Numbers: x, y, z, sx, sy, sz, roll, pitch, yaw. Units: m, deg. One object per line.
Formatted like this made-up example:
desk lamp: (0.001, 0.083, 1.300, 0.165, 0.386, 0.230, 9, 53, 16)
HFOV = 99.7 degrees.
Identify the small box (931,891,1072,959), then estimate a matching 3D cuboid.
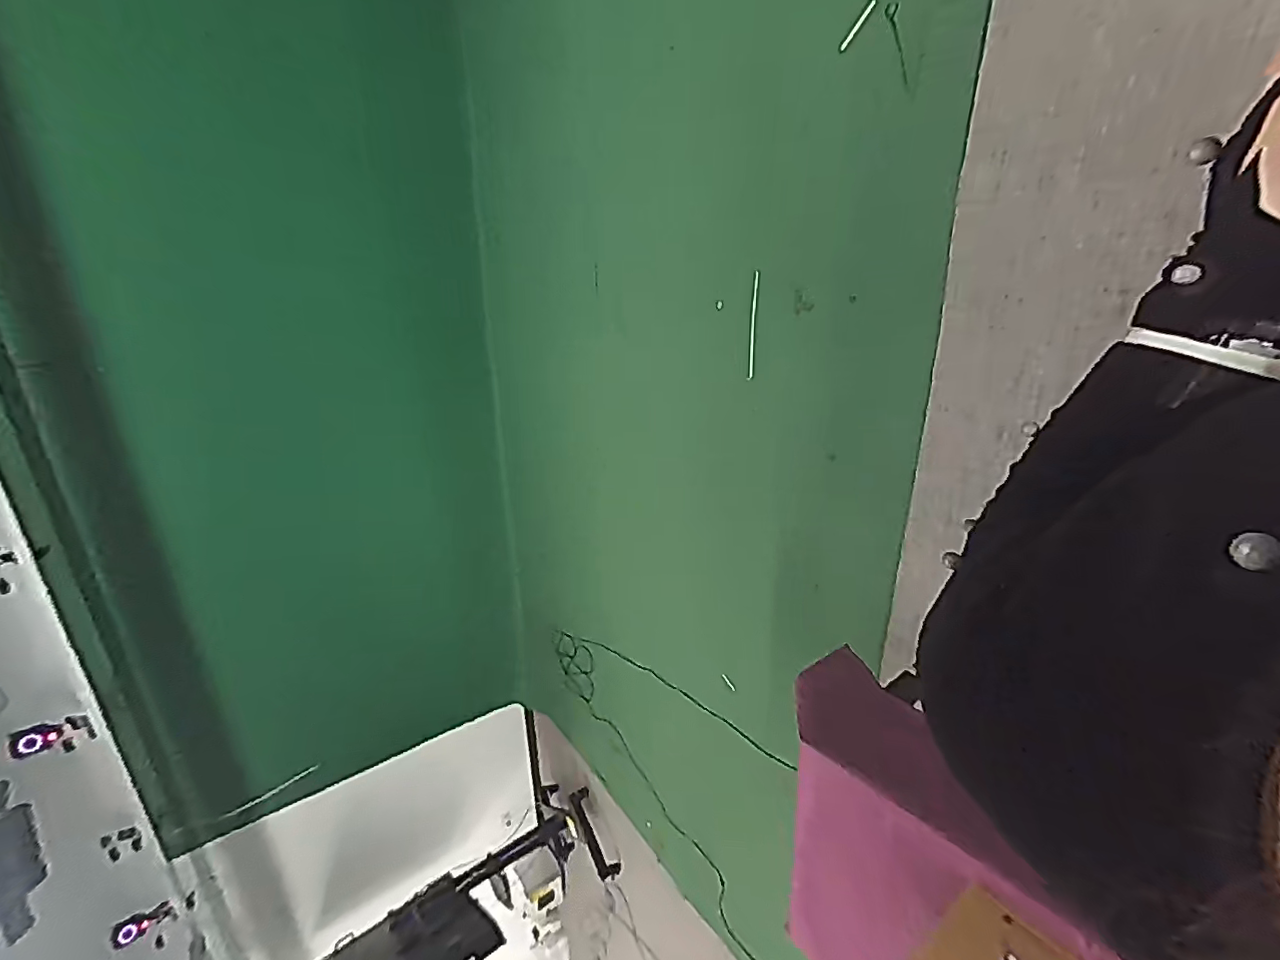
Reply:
small box: (0.540, 0.774, 0.799, 0.168, 0.176, 0.179, 21, 119, 50)
